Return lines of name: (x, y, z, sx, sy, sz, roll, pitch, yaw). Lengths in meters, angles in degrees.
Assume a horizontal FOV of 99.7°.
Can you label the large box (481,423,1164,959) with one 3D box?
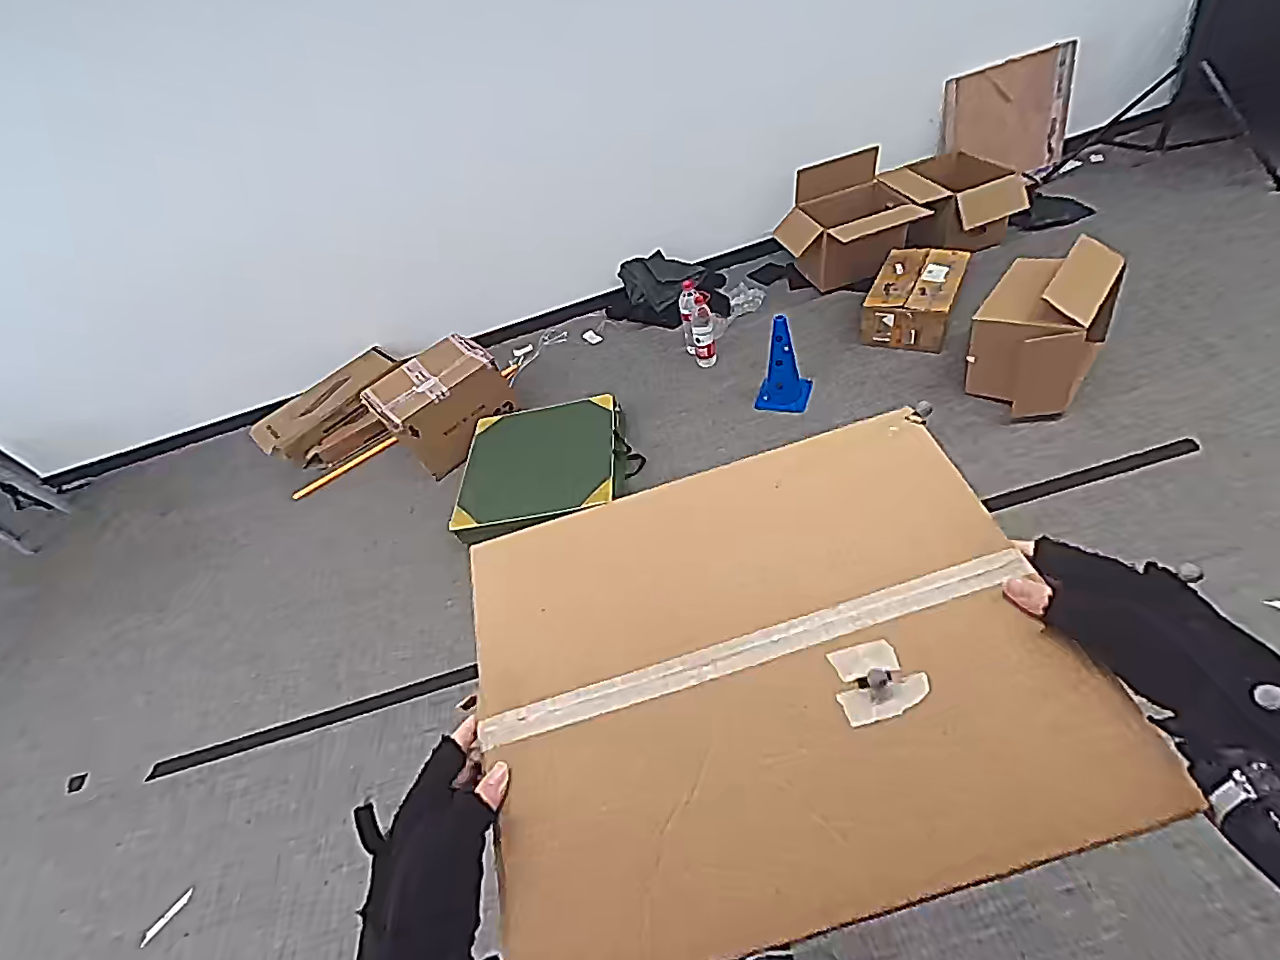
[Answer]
large box: (0.109, 0.209, 0.521, 0.408, 0.320, 0.320, -18, 56, -1)
